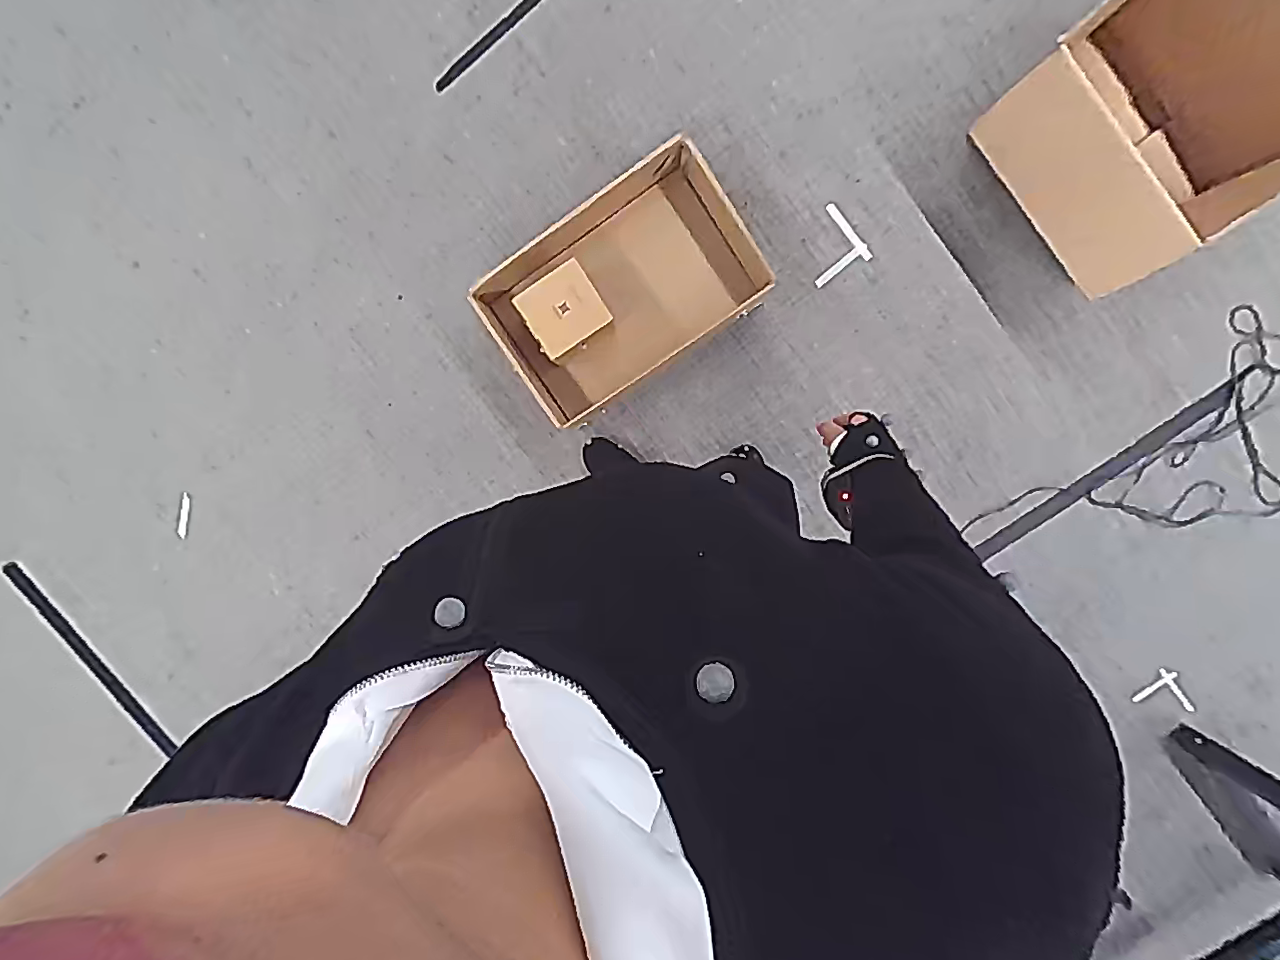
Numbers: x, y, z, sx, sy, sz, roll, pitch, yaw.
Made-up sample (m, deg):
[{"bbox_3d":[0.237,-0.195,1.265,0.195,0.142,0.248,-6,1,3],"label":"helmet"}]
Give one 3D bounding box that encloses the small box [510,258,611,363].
[{"bbox_3d":[-0.184,-0.402,1.319,0.179,0.176,0.168,-34,97,3],"label":"small box"}]
